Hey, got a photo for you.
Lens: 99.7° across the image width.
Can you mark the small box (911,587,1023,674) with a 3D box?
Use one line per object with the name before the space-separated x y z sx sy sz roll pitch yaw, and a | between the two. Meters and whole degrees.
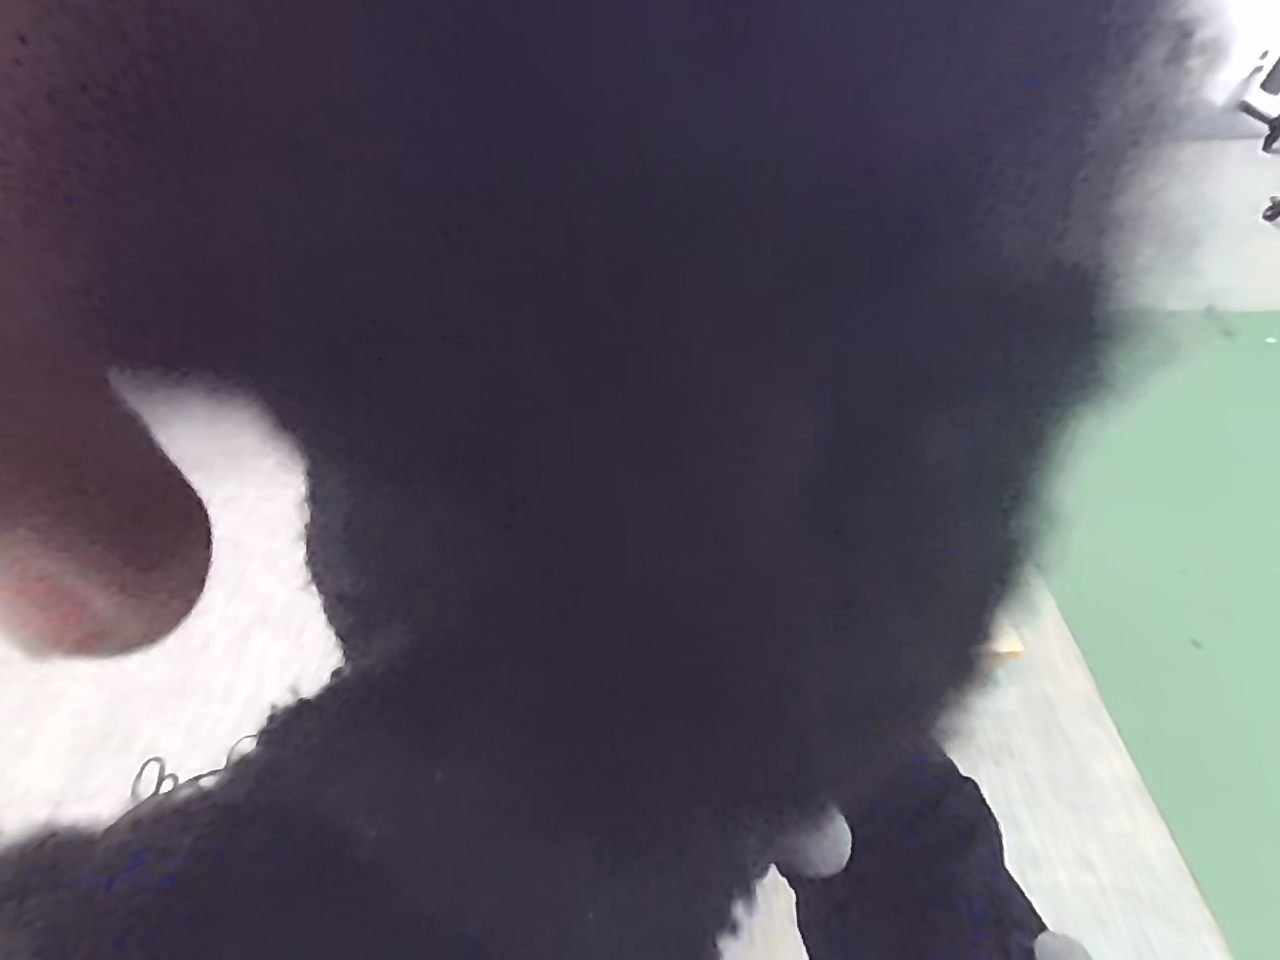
small box | 0.832 0.394 1.396 0.168 0.176 0.179 -2 52 2
